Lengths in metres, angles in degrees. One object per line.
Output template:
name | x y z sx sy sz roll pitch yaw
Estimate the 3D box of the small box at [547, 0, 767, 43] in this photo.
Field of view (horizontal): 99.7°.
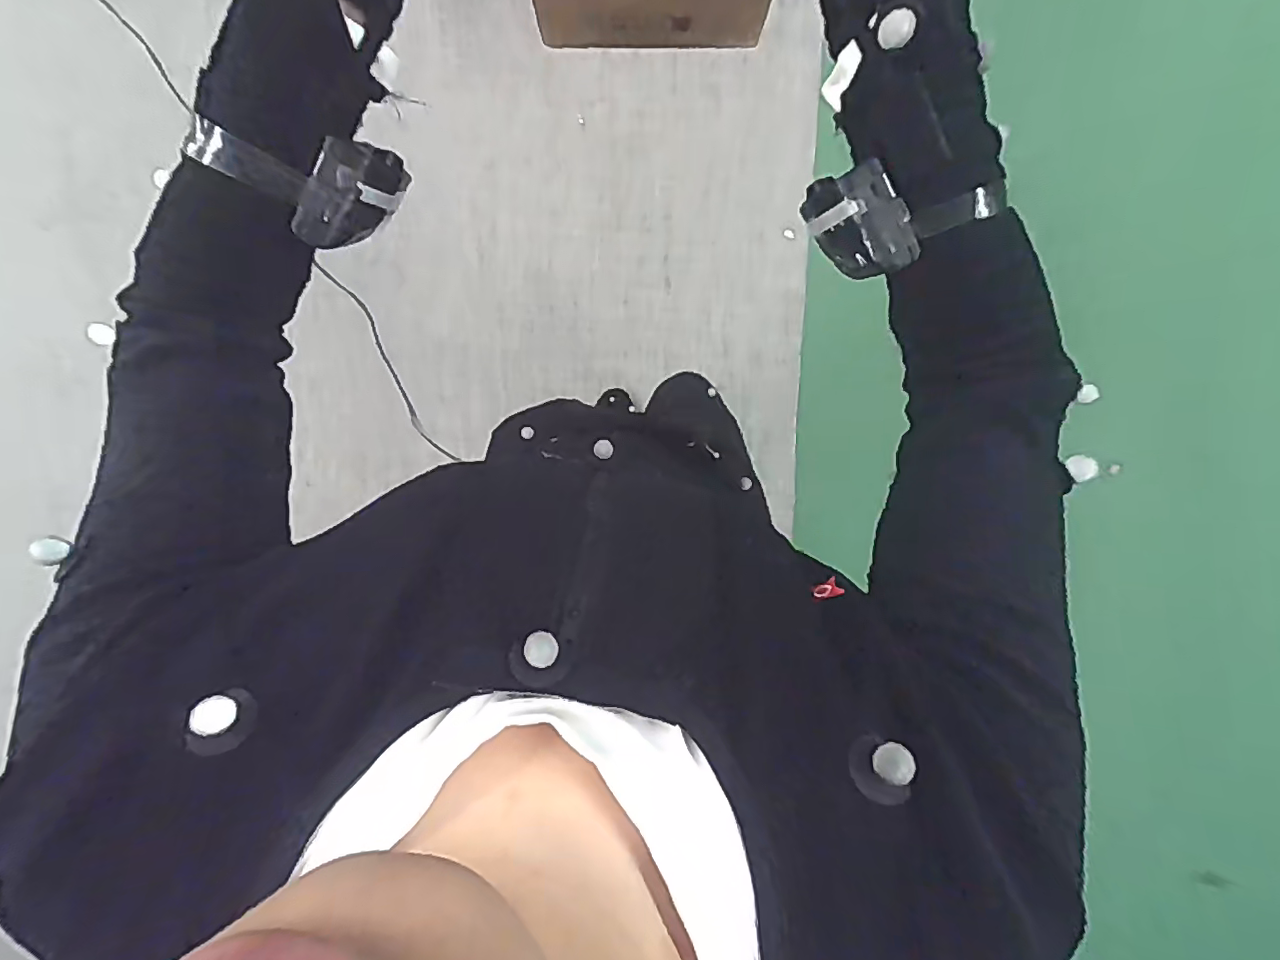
small box | 0.012 -0.416 0.334 0.168 0.176 0.179 0 93 0
